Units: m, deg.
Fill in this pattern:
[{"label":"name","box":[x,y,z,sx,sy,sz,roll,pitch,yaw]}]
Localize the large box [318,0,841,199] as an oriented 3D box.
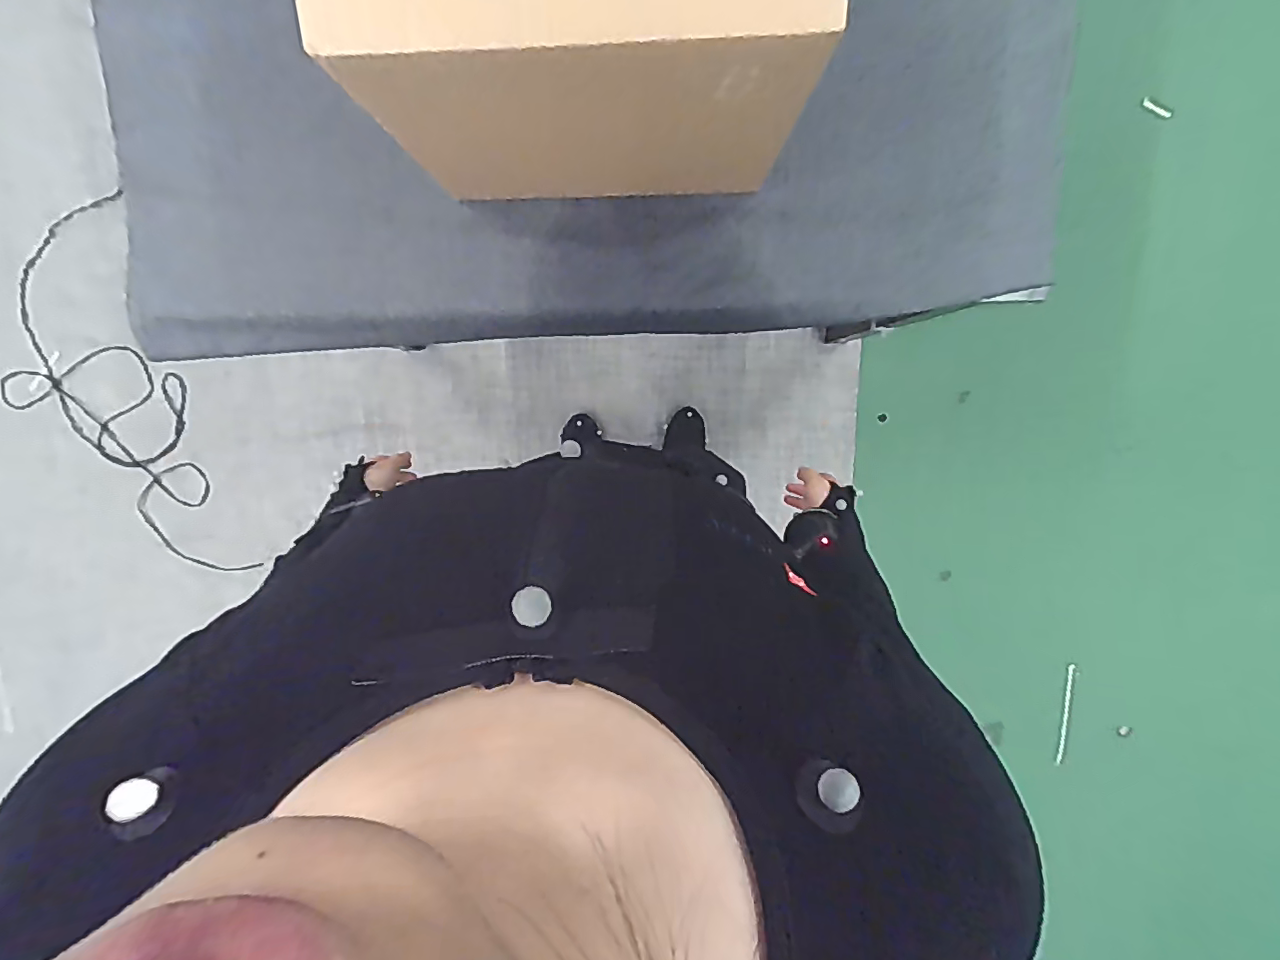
[{"label":"large box","box":[-0.052,-0.505,0.539,0.408,0.320,0.320,-2,100,1]}]
